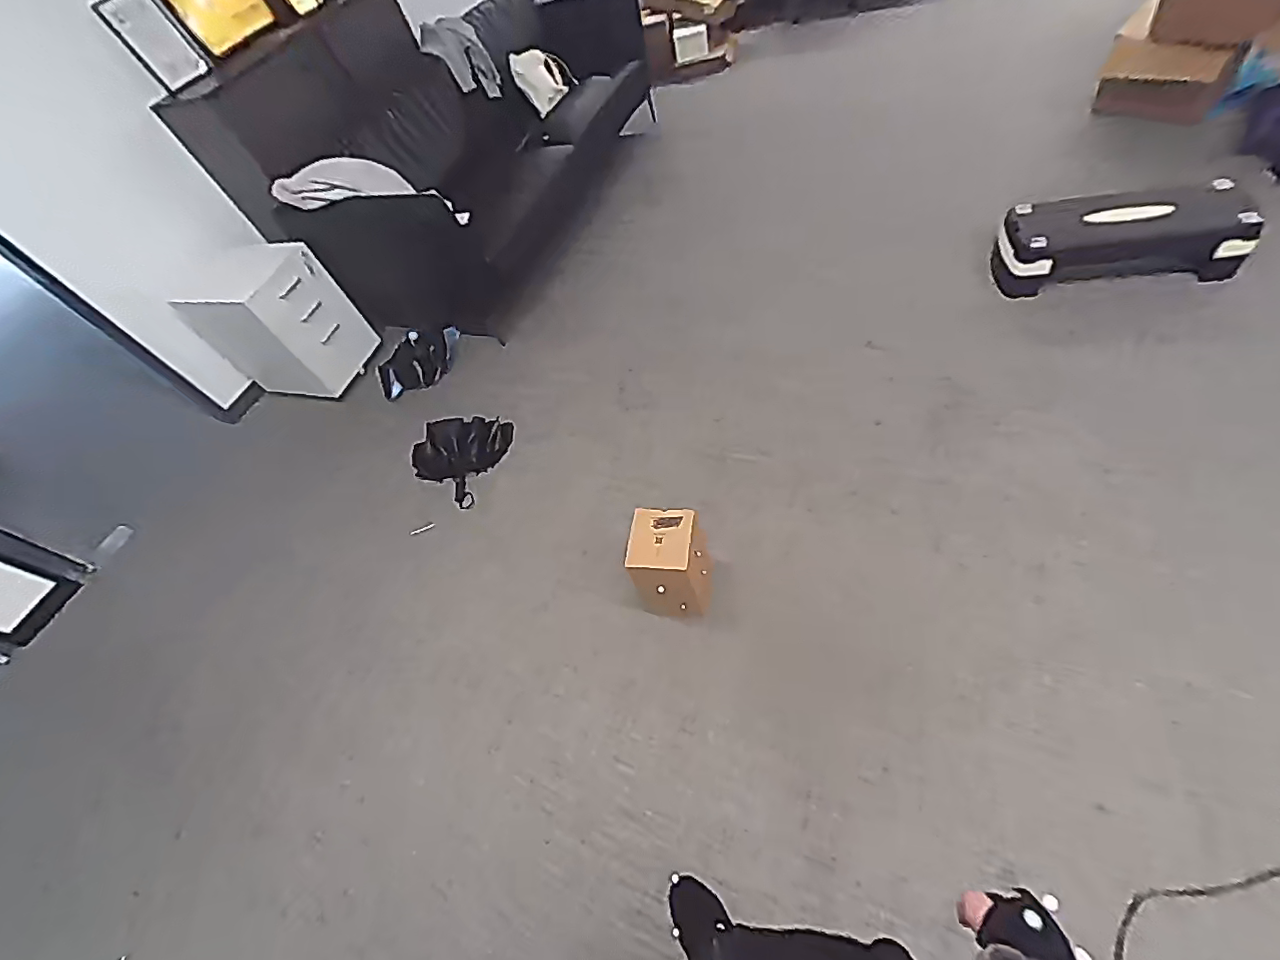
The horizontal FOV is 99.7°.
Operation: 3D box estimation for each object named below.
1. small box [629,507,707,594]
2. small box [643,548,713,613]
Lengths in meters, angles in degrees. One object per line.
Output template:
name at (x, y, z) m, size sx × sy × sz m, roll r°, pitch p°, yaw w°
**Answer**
small box at (0.082, 0.190, 1.455) m, size 0.168 × 0.176 × 0.179 m, roll 0°, pitch 57°, yaw 18°
small box at (0.119, 0.279, 1.589) m, size 0.168 × 0.176 × 0.179 m, roll 0°, pitch 55°, yaw 17°
